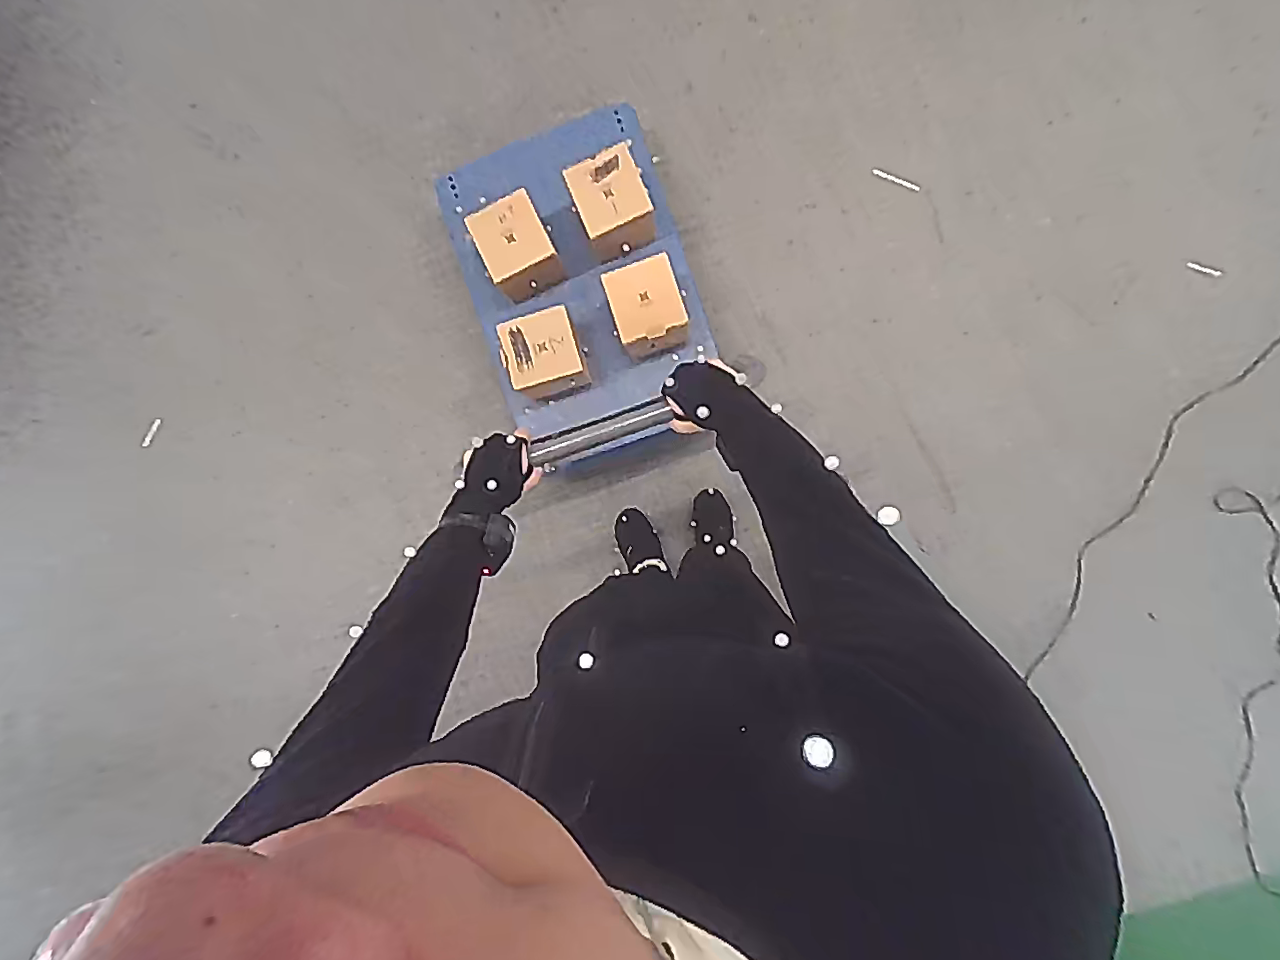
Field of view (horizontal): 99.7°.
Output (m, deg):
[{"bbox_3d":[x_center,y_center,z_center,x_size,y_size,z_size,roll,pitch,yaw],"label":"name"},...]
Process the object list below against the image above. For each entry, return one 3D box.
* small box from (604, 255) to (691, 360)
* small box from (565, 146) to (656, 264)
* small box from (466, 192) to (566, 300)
[{"bbox_3d":[0.020,-0.421,1.347,0.168,0.176,0.179,-19,90,4],"label":"small box"},{"bbox_3d":[-0.068,-0.676,1.347,0.168,0.176,0.179,-23,90,4],"label":"small box"},{"bbox_3d":[-0.303,-0.576,1.364,0.168,0.176,0.179,-26,89,3],"label":"small box"}]
